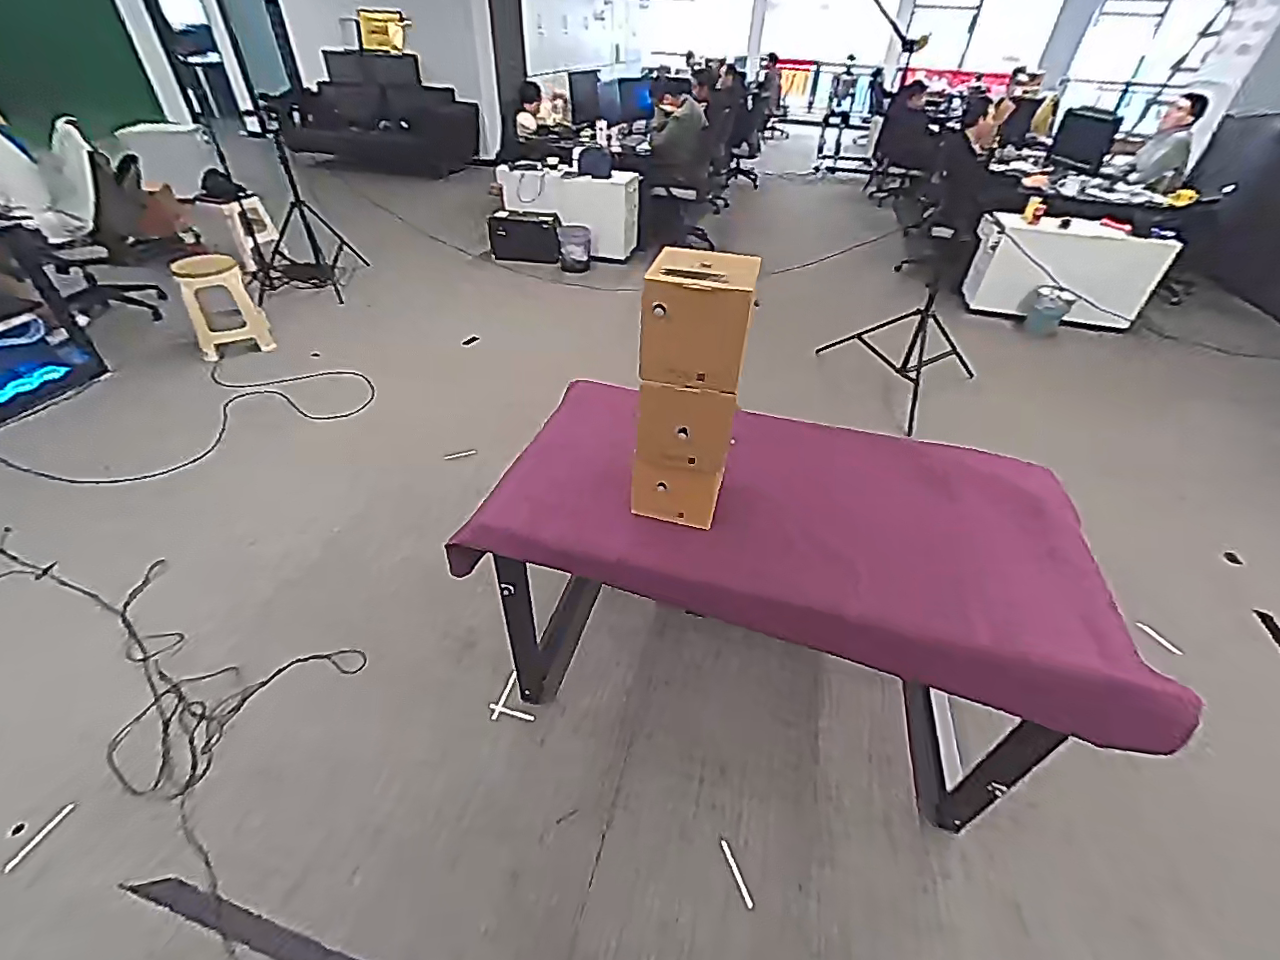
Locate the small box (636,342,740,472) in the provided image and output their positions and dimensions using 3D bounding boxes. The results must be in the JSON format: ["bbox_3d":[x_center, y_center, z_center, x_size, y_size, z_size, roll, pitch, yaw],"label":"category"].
[{"bbox_3d":[0.089,-0.134,1.005,0.168,0.176,0.179,9,41,7],"label":"small box"}]

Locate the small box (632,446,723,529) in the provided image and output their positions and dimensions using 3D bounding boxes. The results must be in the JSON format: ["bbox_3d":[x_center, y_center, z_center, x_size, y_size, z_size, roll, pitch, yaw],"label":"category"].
[{"bbox_3d":[0.084,-0.023,1.127,0.168,0.176,0.179,11,40,10],"label":"small box"}]
